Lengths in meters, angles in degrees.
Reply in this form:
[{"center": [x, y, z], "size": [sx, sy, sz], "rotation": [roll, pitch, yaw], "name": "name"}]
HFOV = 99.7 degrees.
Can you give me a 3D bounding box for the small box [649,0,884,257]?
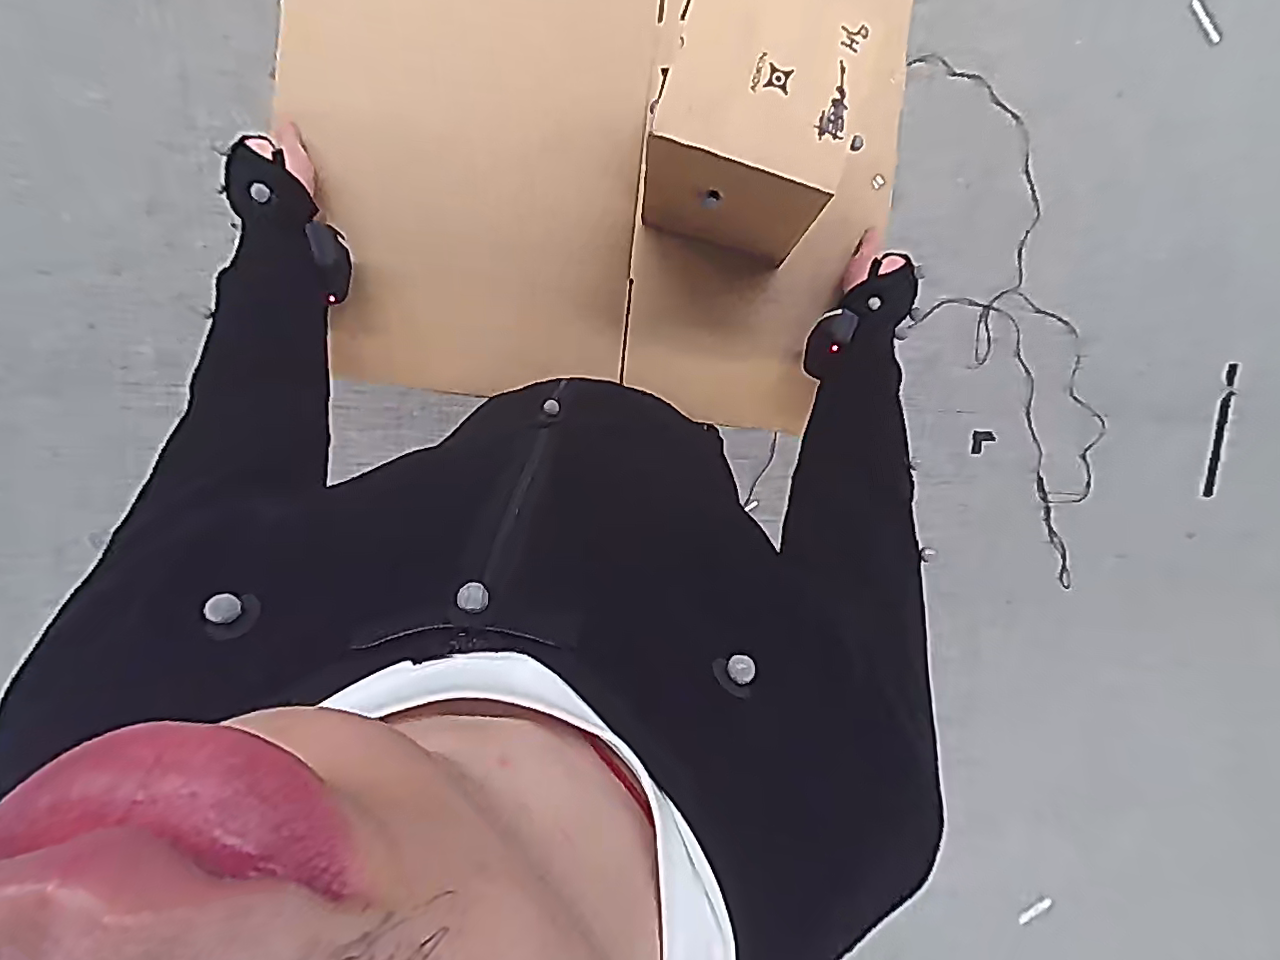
[{"center": [0.113, -0.359, 0.563], "size": [0.179, 0.176, 0.168], "rotation": [17, 90, -1], "name": "small box"}]
